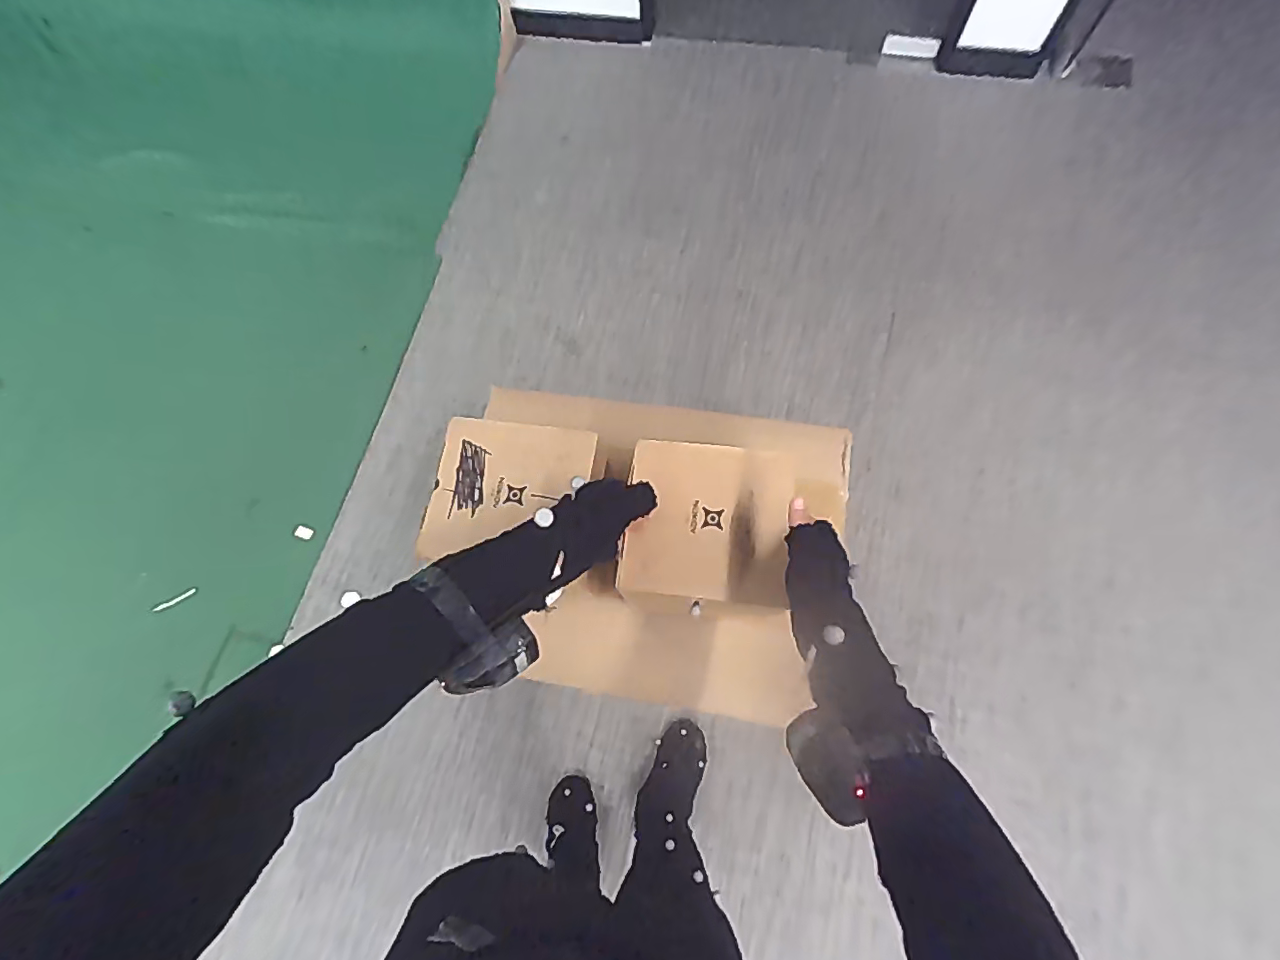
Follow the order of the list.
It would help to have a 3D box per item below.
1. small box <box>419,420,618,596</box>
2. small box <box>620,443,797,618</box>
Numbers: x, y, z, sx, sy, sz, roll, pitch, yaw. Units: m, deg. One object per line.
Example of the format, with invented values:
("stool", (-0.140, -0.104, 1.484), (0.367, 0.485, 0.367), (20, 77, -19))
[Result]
("small box", (-0.132, 0.042, 0.662), (0.179, 0.176, 0.168), (7, 72, 6))
("small box", (0.079, 0.068, 0.639), (0.179, 0.176, 0.168), (5, 72, 5))
